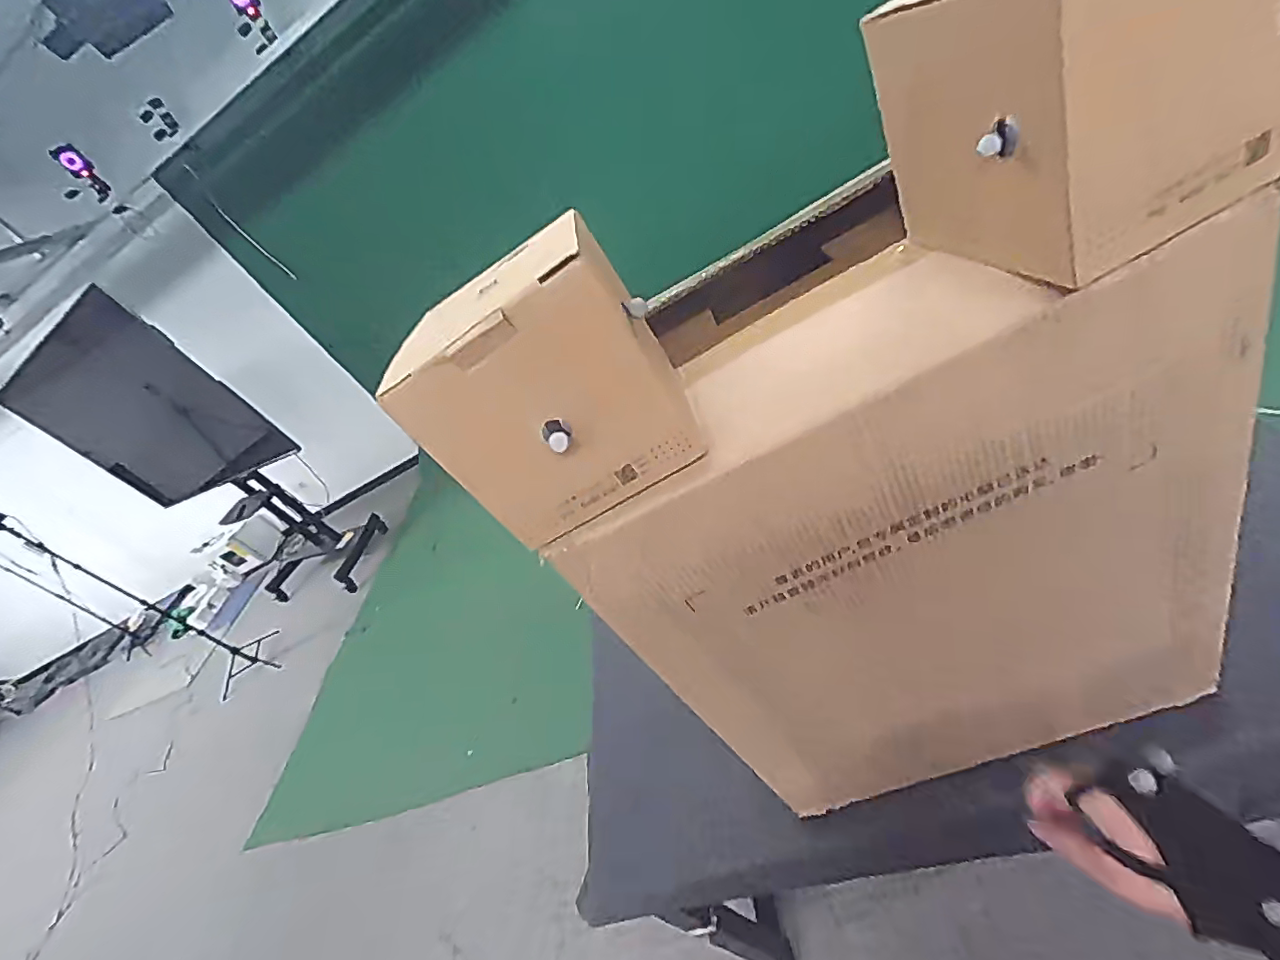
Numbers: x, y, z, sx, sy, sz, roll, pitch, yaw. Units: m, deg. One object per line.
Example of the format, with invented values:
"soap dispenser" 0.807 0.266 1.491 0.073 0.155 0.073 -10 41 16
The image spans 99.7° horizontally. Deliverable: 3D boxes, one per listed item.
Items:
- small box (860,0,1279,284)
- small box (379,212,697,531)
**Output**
"small box" 0.274 -0.249 0.340 0.168 0.176 0.179 -29 33 7
"small box" -0.071 -0.082 0.444 0.168 0.176 0.179 -29 34 12
